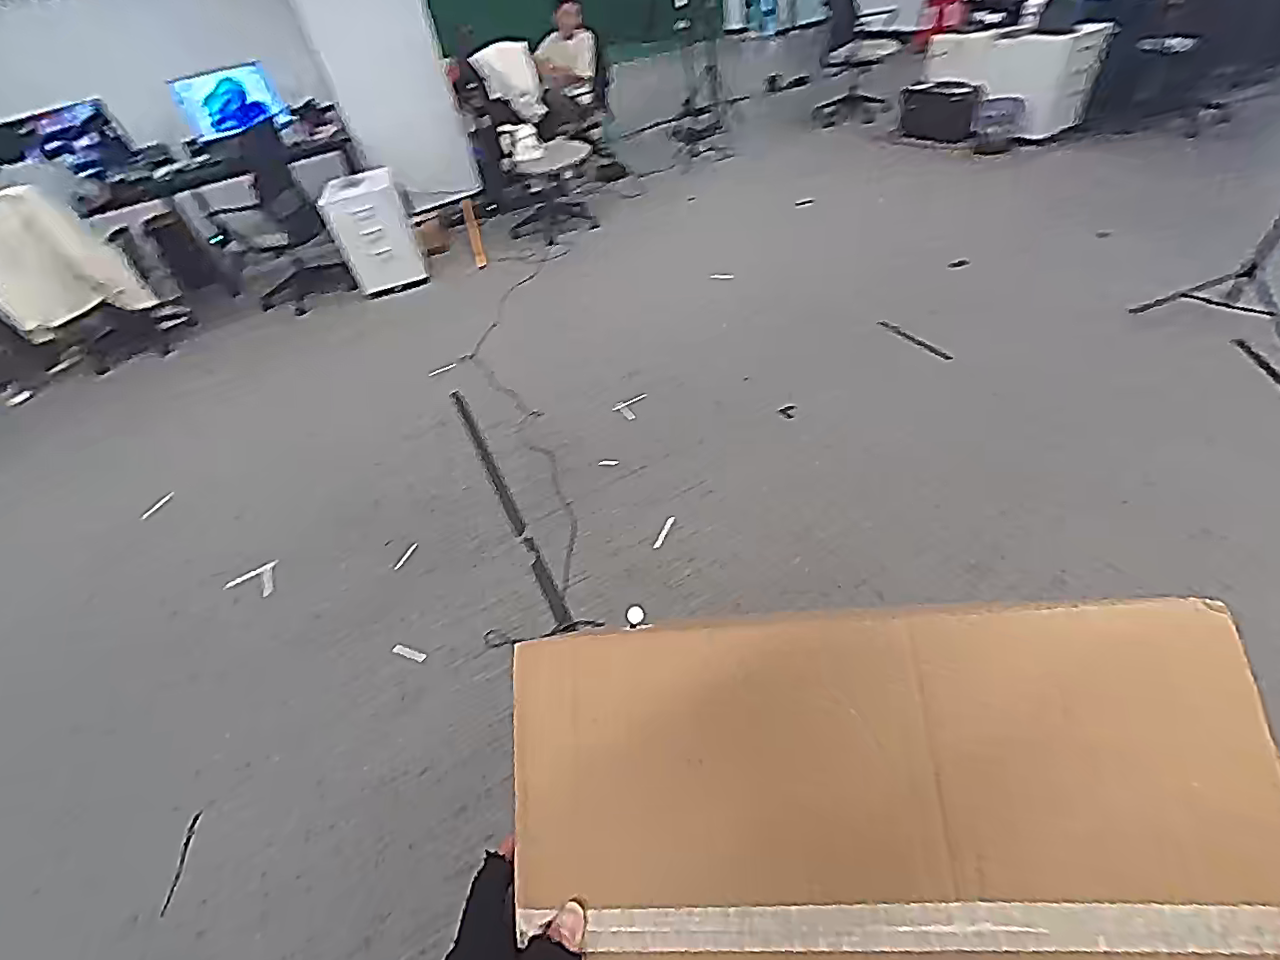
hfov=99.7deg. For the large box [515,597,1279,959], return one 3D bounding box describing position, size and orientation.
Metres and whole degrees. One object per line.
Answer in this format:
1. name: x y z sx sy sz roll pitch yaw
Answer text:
1. large box: 0.146 0.274 0.440 0.408 0.320 0.320 -7 77 7
